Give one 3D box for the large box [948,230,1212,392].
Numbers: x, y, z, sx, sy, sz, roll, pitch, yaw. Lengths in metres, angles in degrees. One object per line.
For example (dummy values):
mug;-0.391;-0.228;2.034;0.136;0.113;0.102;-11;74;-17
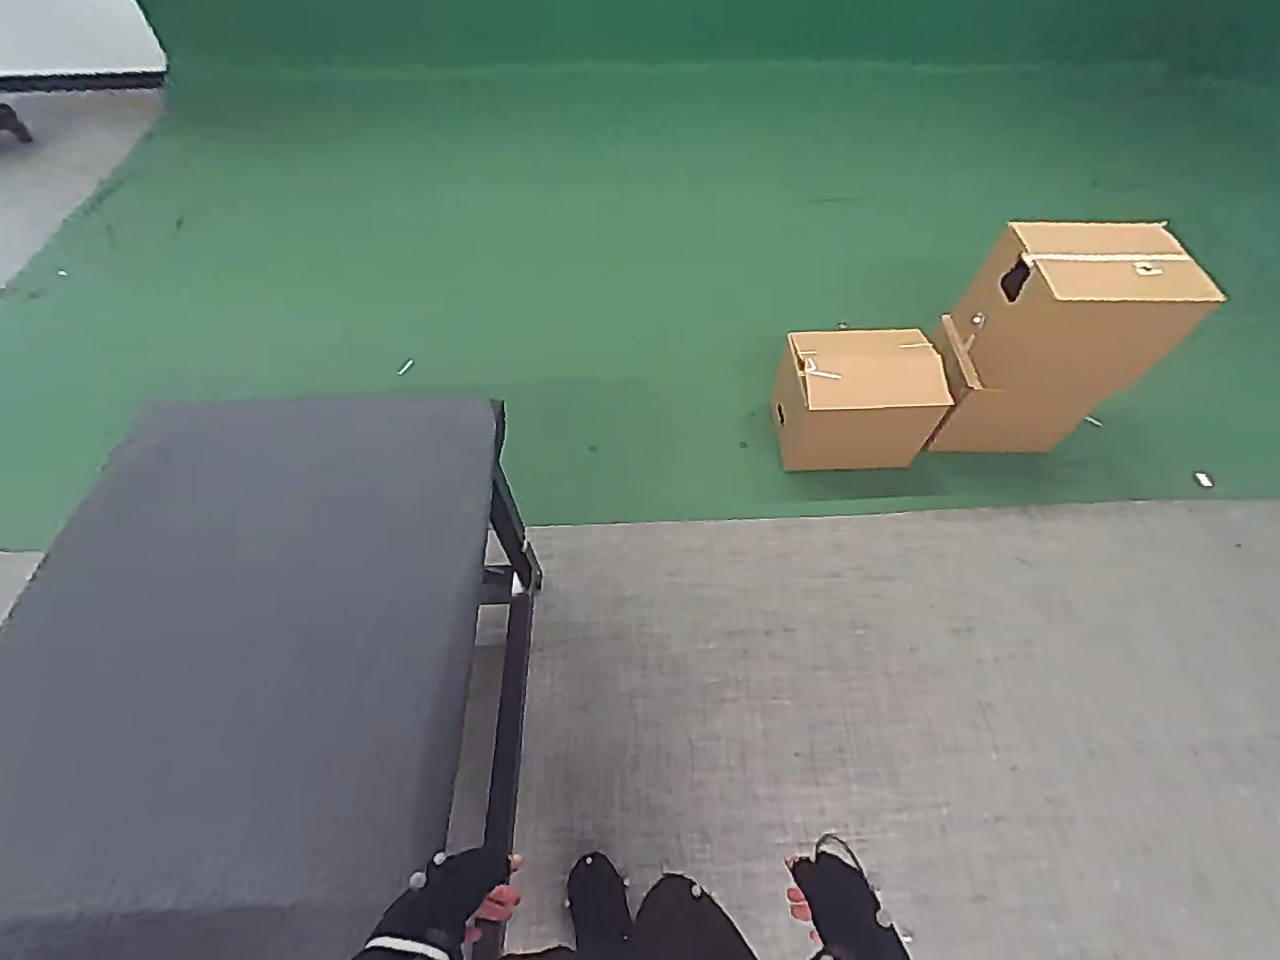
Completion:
large box;1.155;-0.456;1.481;0.408;0.320;0.320;0;58;-1
